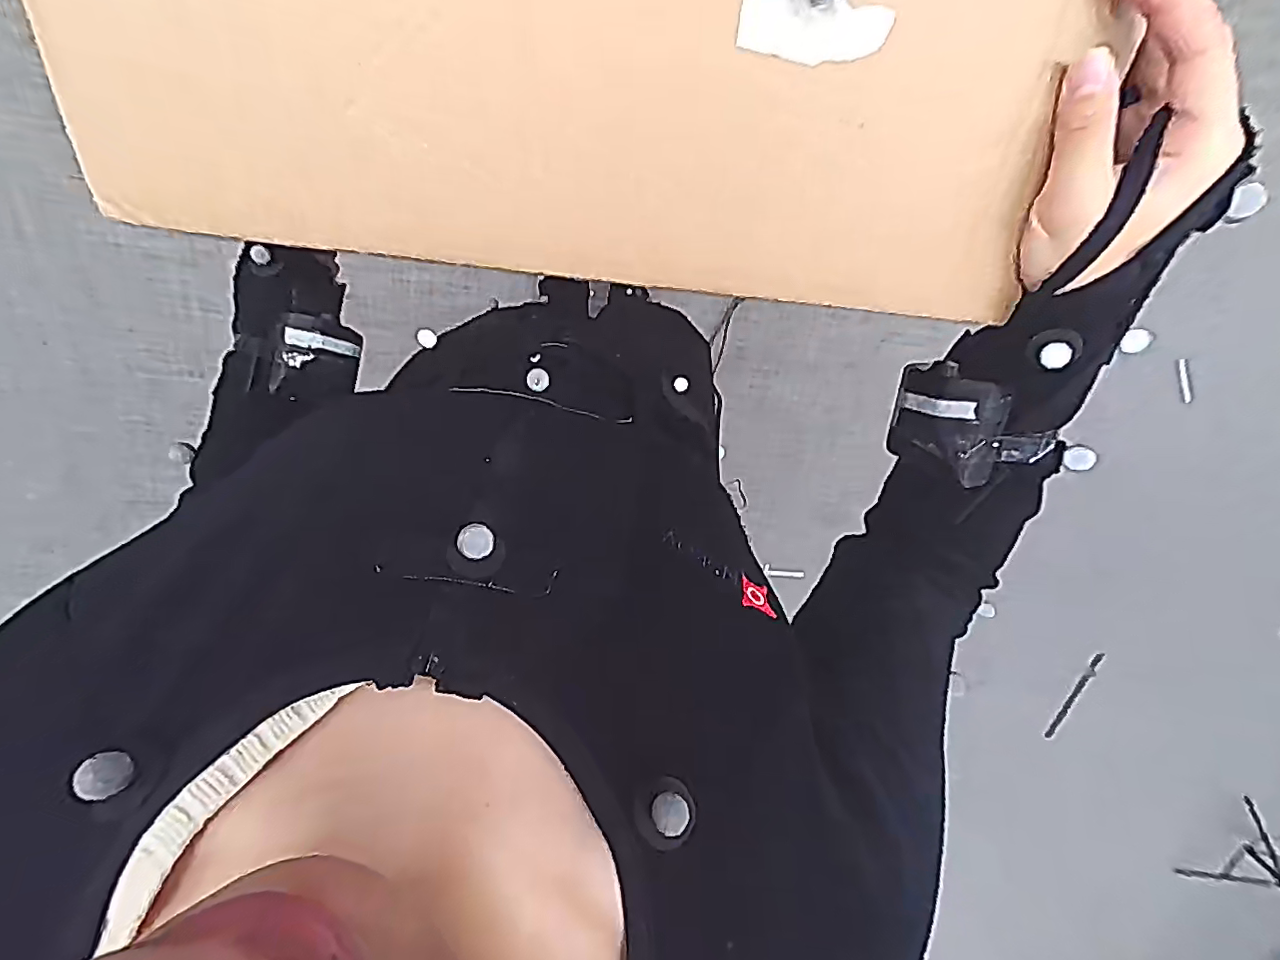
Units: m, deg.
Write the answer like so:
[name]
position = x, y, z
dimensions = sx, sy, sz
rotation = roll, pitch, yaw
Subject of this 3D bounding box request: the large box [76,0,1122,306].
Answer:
[large box]
position = -0.012, -0.303, 0.311
dimensions = 0.408, 0.320, 0.320
rotation = 3, 120, -9
